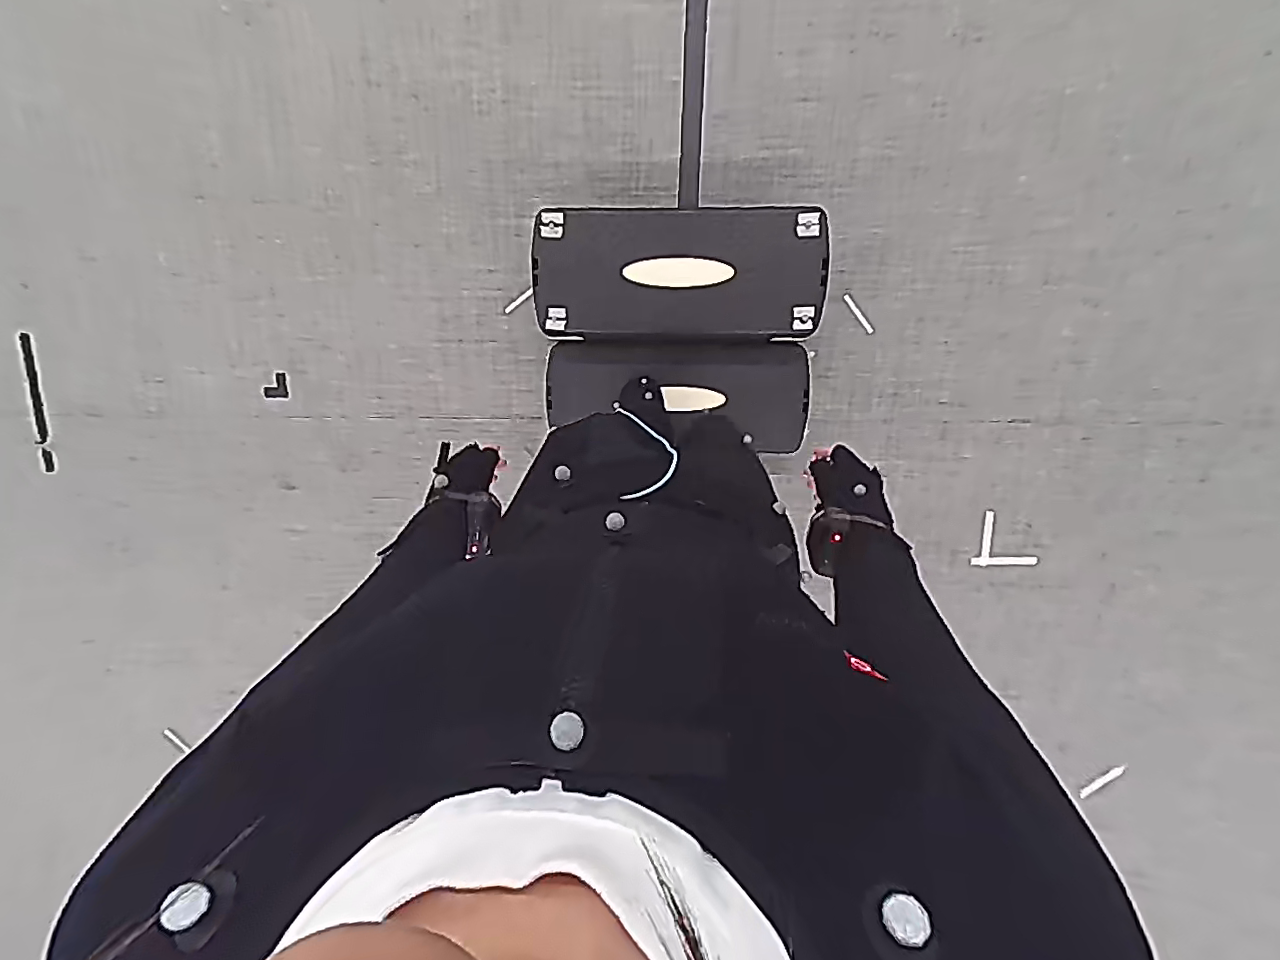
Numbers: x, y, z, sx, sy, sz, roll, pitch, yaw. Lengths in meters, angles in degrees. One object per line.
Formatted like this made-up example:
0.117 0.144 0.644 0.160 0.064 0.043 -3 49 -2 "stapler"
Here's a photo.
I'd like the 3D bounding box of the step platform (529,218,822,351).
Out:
0.081 -0.461 1.304 0.684 0.204 0.286 0 103 3 "step platform"
